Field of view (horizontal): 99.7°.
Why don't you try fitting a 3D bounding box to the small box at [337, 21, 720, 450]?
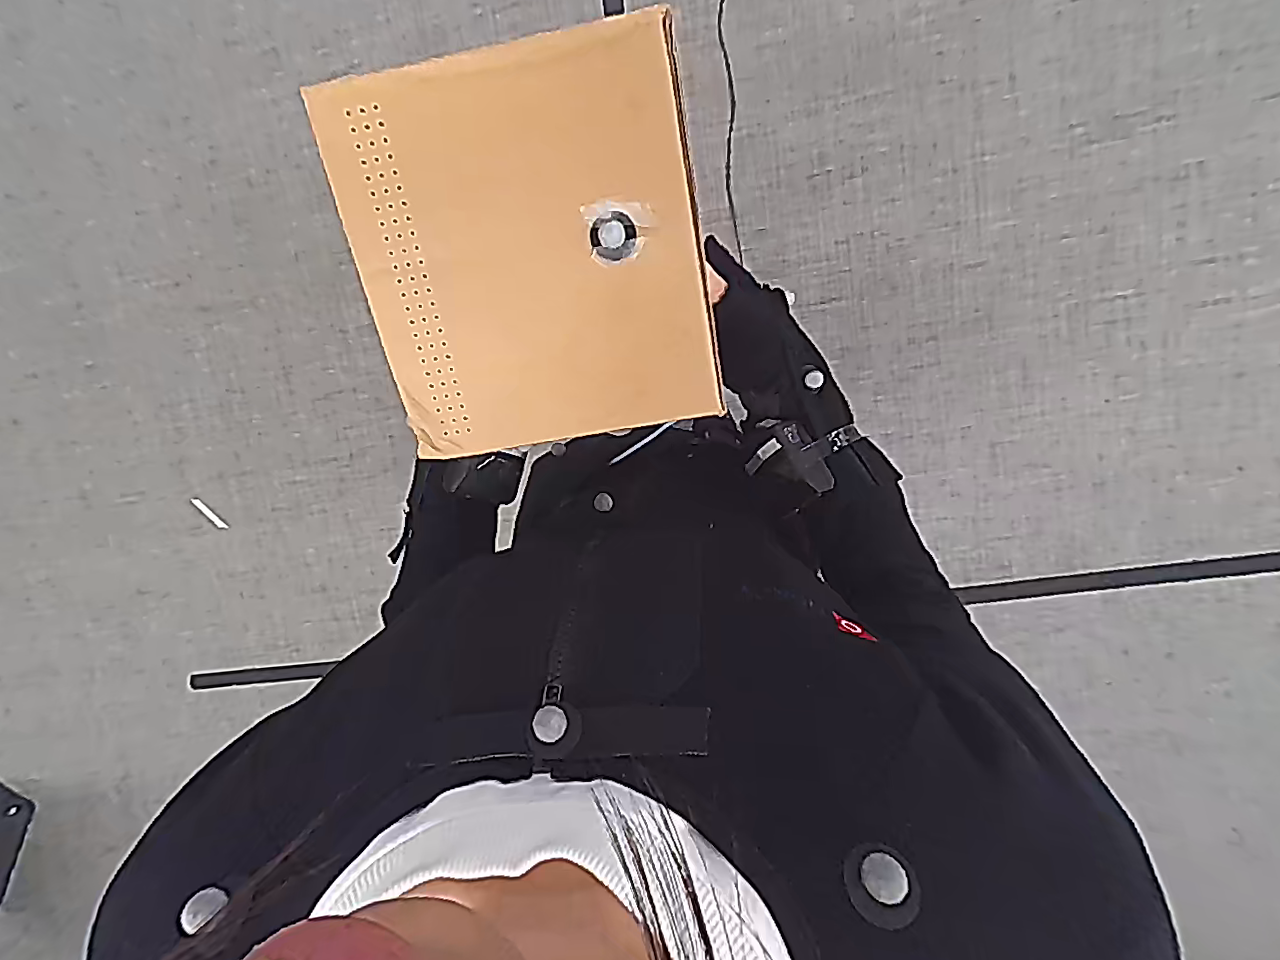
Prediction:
[{"bbox_3d":[-0.053,-0.133,0.344,0.176,0.168,0.179,-9,108,6],"label":"small box"}]
